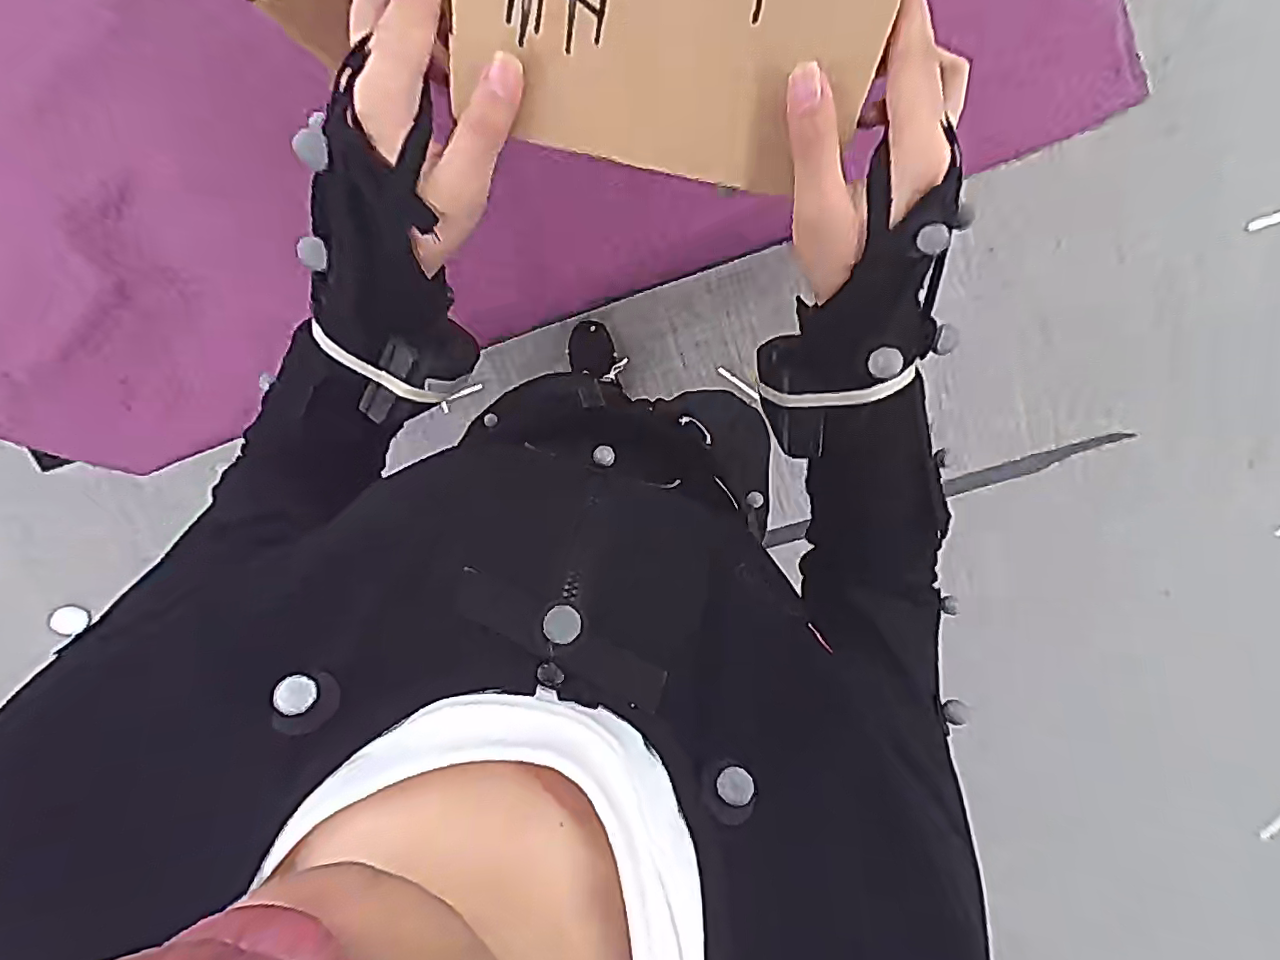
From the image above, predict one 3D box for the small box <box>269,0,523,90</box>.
[{"bbox_3d":[-0.214,-0.455,0.429,0.179,0.176,0.168,-17,104,4],"label":"small box"}]
